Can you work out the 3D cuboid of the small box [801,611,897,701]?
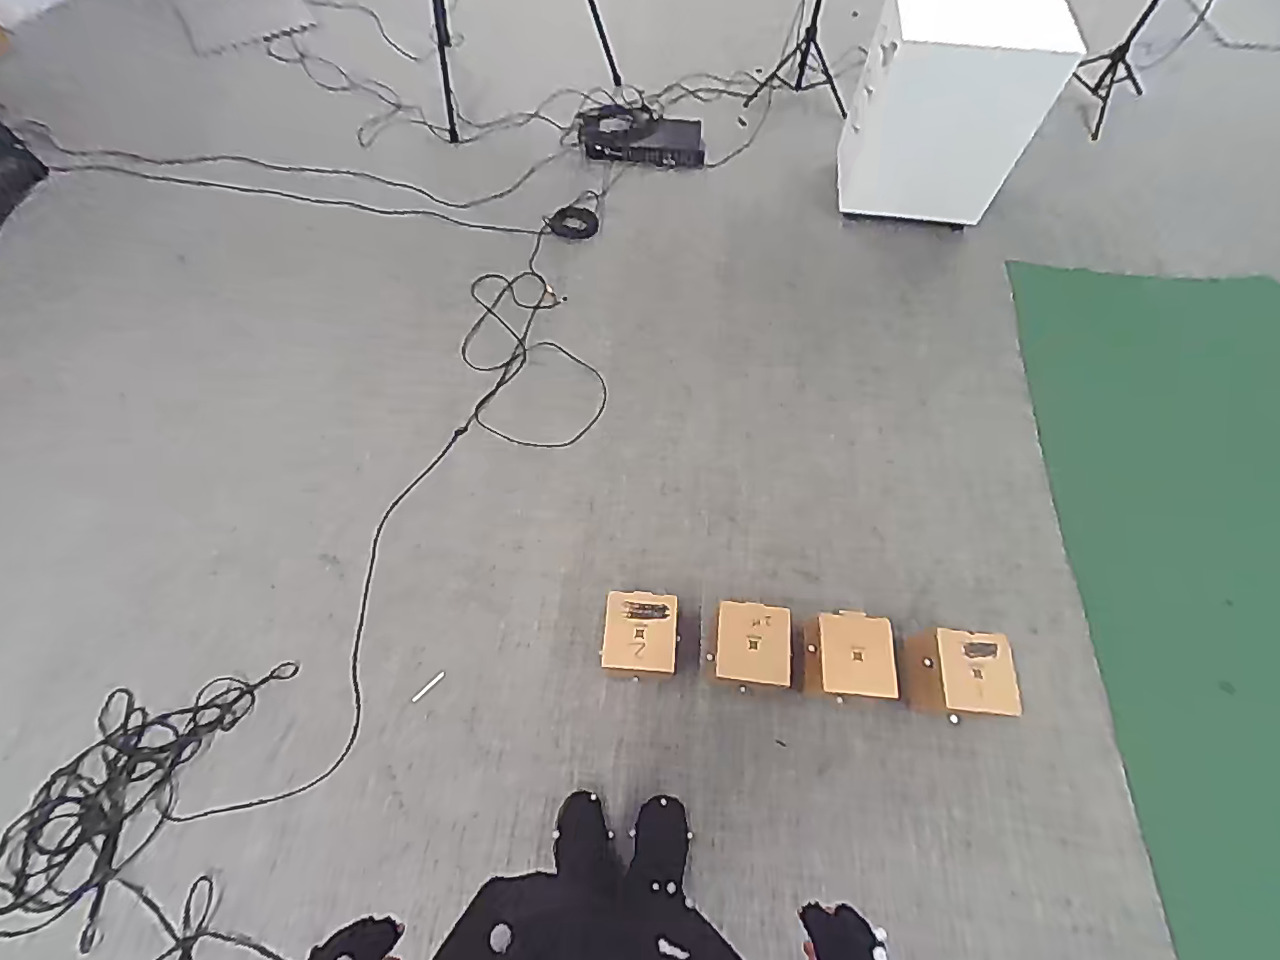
[{"bbox_3d":[0.489,0.425,1.289,0.168,0.176,0.179,5,63,1],"label":"small box"}]

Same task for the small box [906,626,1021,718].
[{"bbox_3d":[0.750,0.456,1.276,0.168,0.176,0.179,5,65,2],"label":"small box"}]

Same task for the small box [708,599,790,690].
[{"bbox_3d":[0.257,0.400,1.296,0.168,0.176,0.179,7,64,2],"label":"small box"}]
